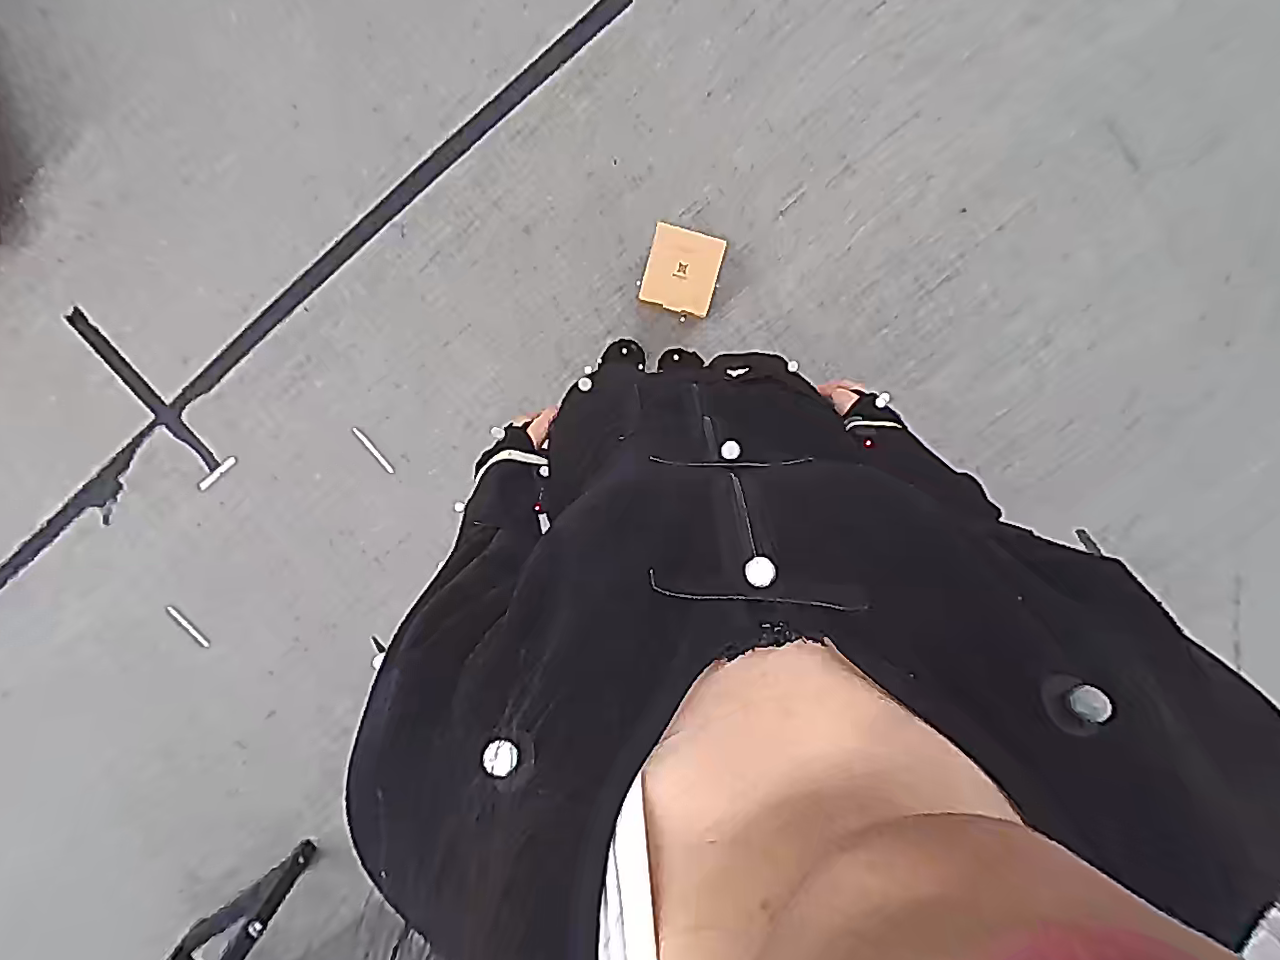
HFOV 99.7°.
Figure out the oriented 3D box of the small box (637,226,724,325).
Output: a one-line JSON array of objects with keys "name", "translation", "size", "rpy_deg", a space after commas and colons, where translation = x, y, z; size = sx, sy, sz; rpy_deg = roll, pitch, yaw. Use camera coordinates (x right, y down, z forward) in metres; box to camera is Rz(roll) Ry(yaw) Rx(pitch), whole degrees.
[{"name": "small box", "translation": [0.093, -0.486, 1.316], "size": [0.168, 0.176, 0.179], "rpy_deg": [14, 101, -4]}]
